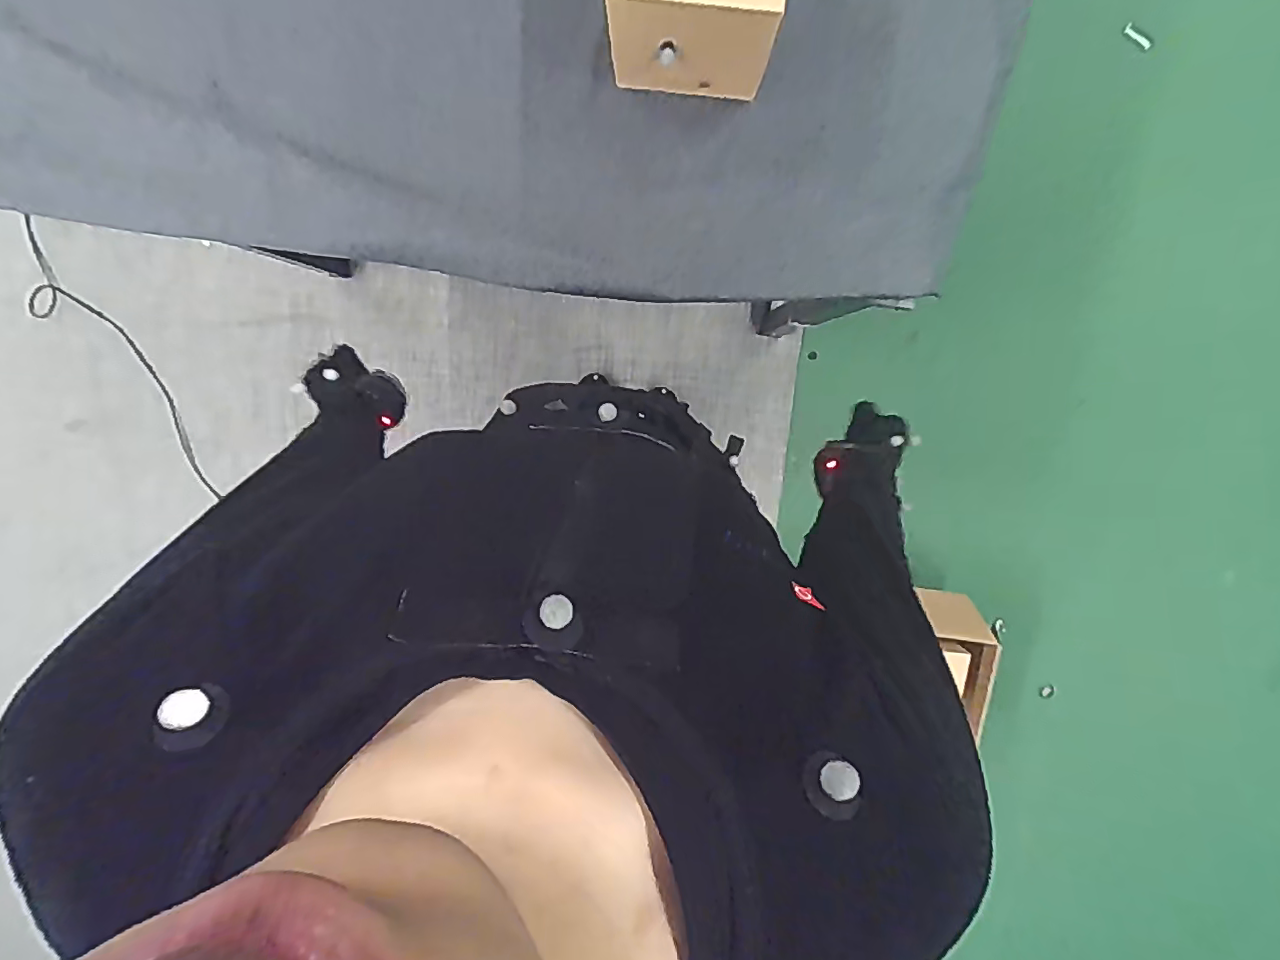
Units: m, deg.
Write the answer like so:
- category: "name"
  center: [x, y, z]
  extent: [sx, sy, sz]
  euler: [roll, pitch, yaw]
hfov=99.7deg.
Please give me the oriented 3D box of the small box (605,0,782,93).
- category: "small box"
  center: [0.061, -0.530, 0.546]
  extent: [0.168, 0.176, 0.179]
  euler: [6, 101, 1]
